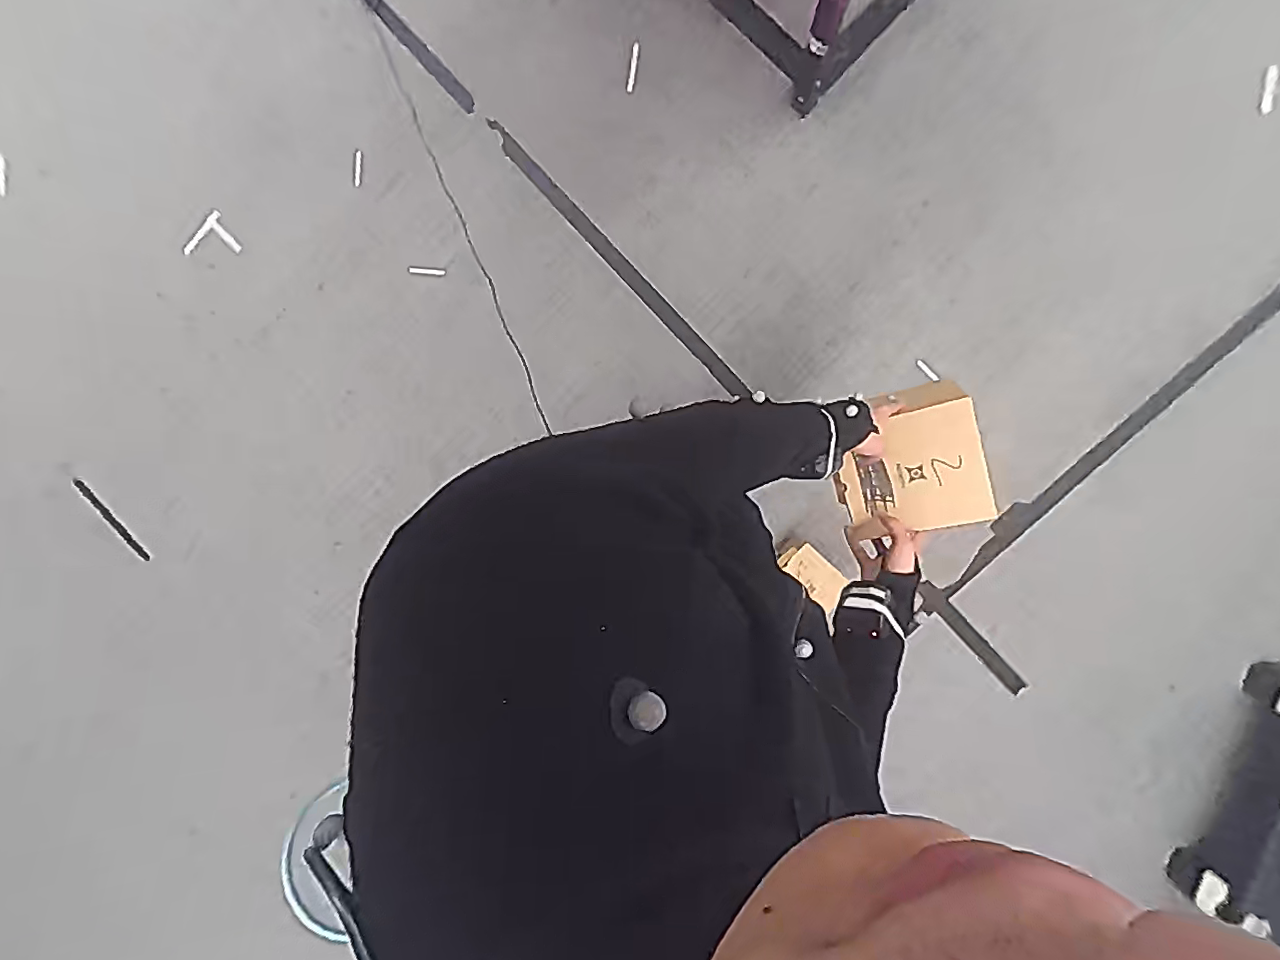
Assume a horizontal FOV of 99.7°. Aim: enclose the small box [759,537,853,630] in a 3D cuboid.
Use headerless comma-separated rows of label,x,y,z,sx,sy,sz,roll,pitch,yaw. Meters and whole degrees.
small box,0.455,0.279,1.511,0.179,0.176,0.168,44,97,4
